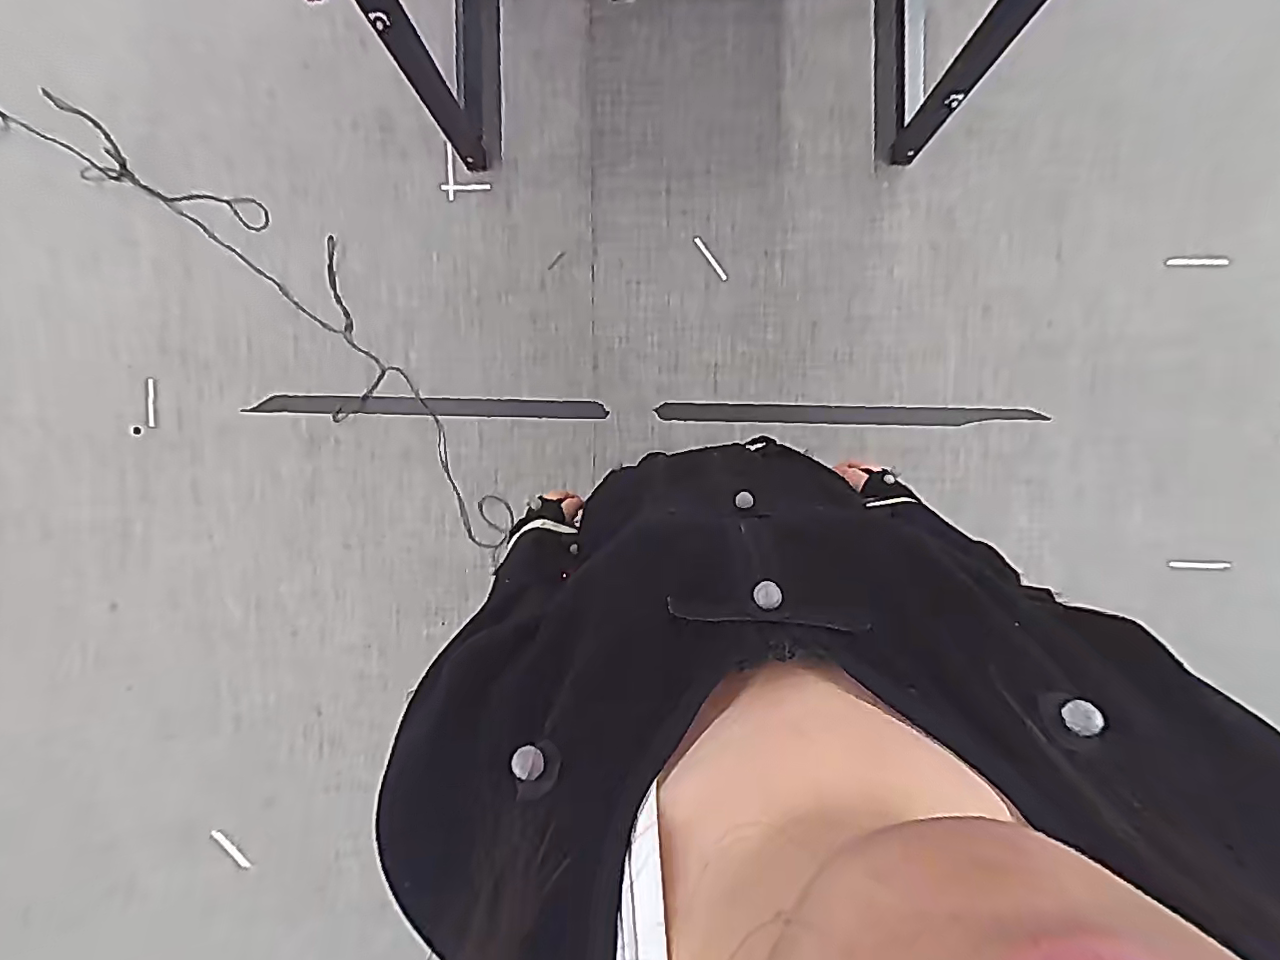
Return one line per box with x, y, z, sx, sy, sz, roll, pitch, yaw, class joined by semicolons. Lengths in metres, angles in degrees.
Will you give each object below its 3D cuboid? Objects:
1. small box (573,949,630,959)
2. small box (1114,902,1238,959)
-0.109;1.448;1.496;0.168;0.176;0.179;-4;94;3;small box
1.265;1.148;1.267;0.168;0.176;0.179;4;92;1;small box
